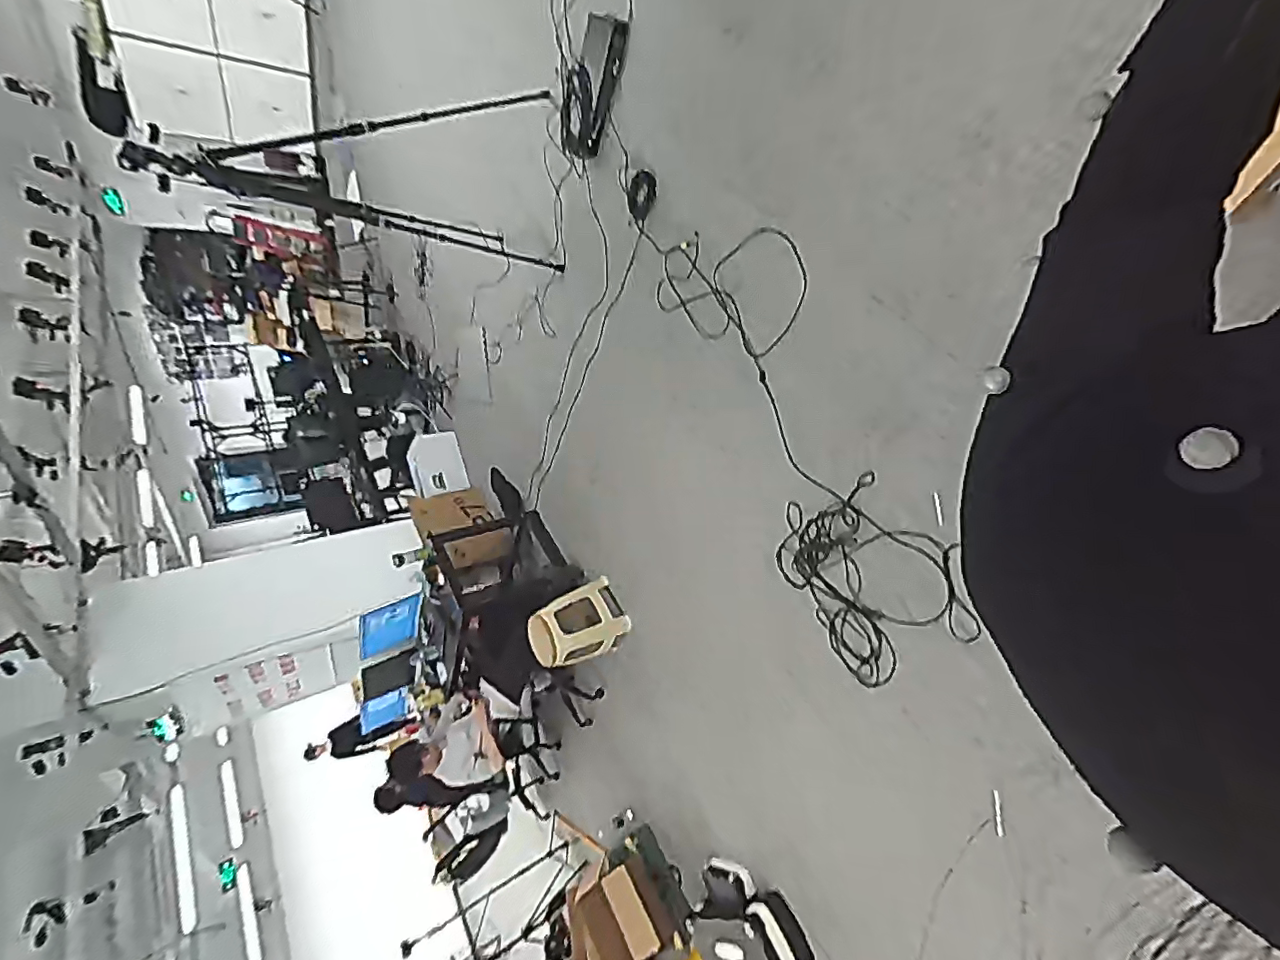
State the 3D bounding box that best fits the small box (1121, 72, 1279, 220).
[{"bbox_3d":[1.000,-0.564,0.930,0.179,0.176,0.168,51,139,30],"label":"small box"}]
